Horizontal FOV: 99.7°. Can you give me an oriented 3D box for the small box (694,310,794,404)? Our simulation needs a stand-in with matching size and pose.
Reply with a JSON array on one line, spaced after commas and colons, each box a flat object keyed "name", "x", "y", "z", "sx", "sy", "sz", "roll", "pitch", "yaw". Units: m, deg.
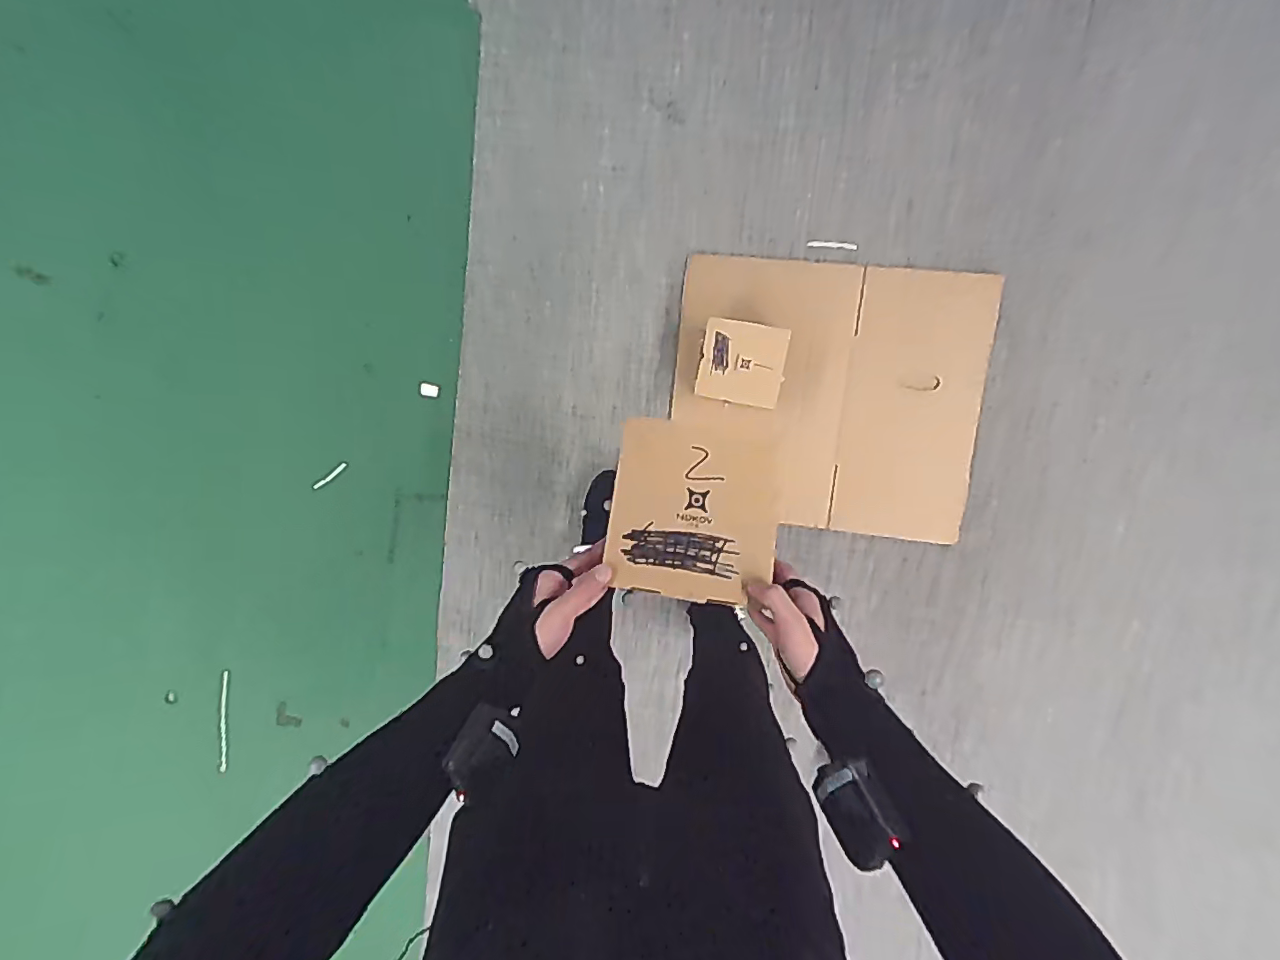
[{"name": "small box", "x": 0.224, "y": -0.262, "z": 1.191, "sx": 0.179, "sy": 0.176, "sz": 0.168, "roll": 11, "pitch": 98, "yaw": 6}]
